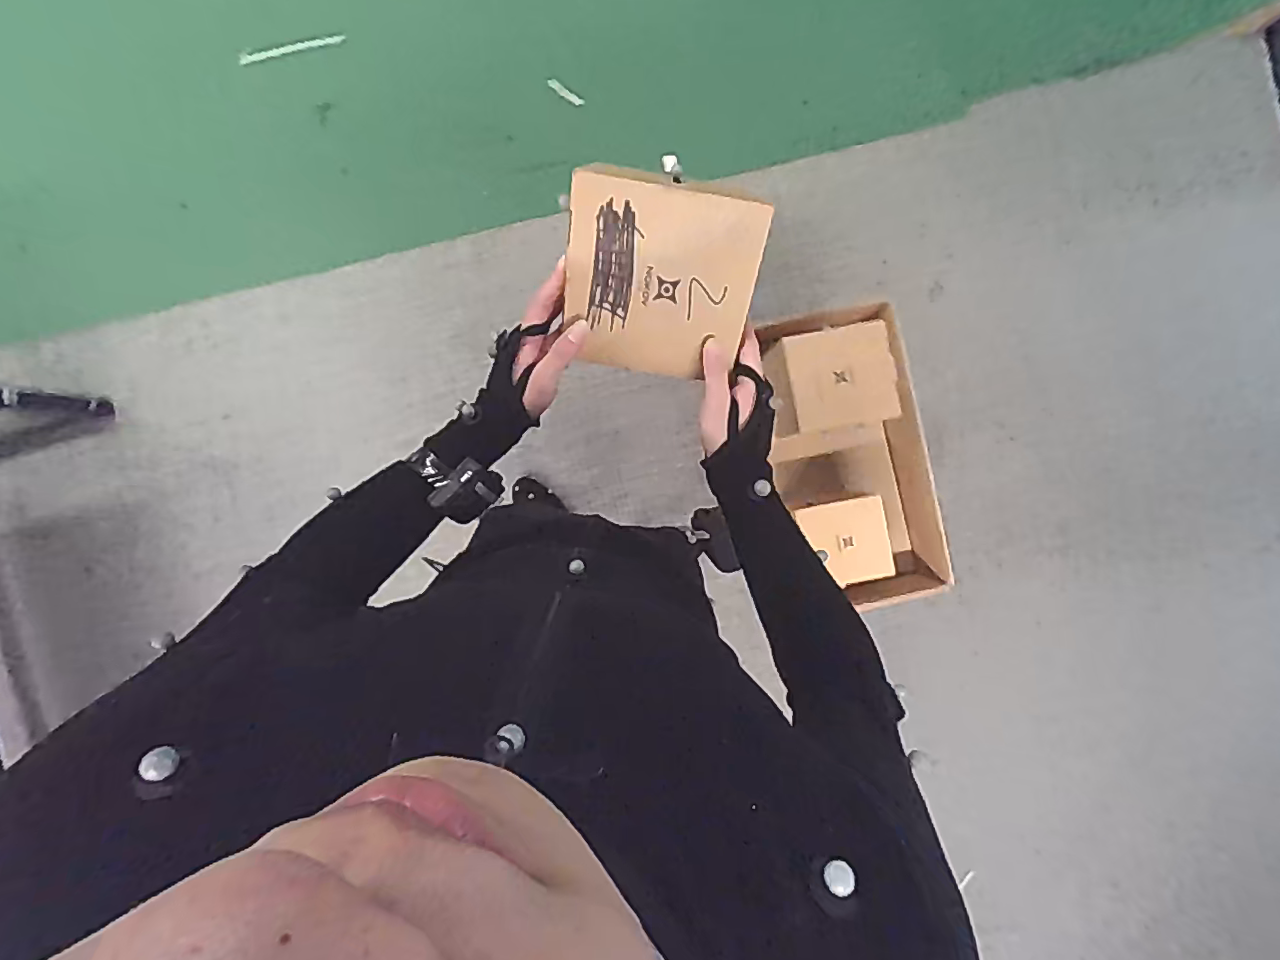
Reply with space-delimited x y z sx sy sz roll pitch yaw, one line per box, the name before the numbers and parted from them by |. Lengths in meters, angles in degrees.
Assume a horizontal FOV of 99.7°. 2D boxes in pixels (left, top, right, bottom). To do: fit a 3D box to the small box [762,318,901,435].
small box | 0.336 -0.179 0.975 0.179 0.176 0.168 -10 91 -1
